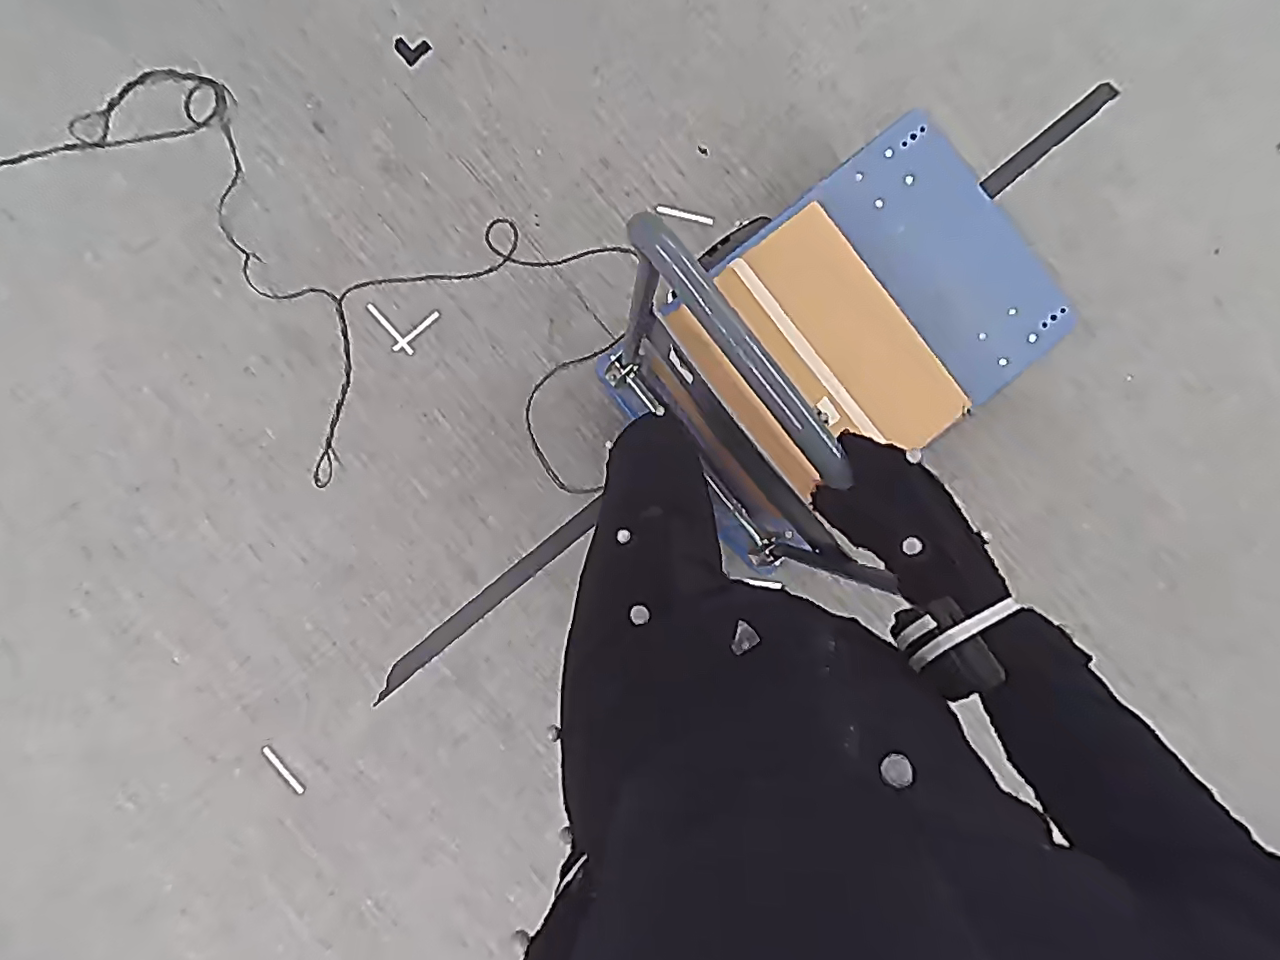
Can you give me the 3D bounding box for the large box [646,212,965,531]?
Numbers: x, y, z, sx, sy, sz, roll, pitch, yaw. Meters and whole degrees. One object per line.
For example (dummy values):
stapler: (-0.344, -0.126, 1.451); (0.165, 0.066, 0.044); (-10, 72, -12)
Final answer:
large box: (0.256, -0.169, 0.974); (0.320, 0.320, 0.408); (-39, 93, 0)
